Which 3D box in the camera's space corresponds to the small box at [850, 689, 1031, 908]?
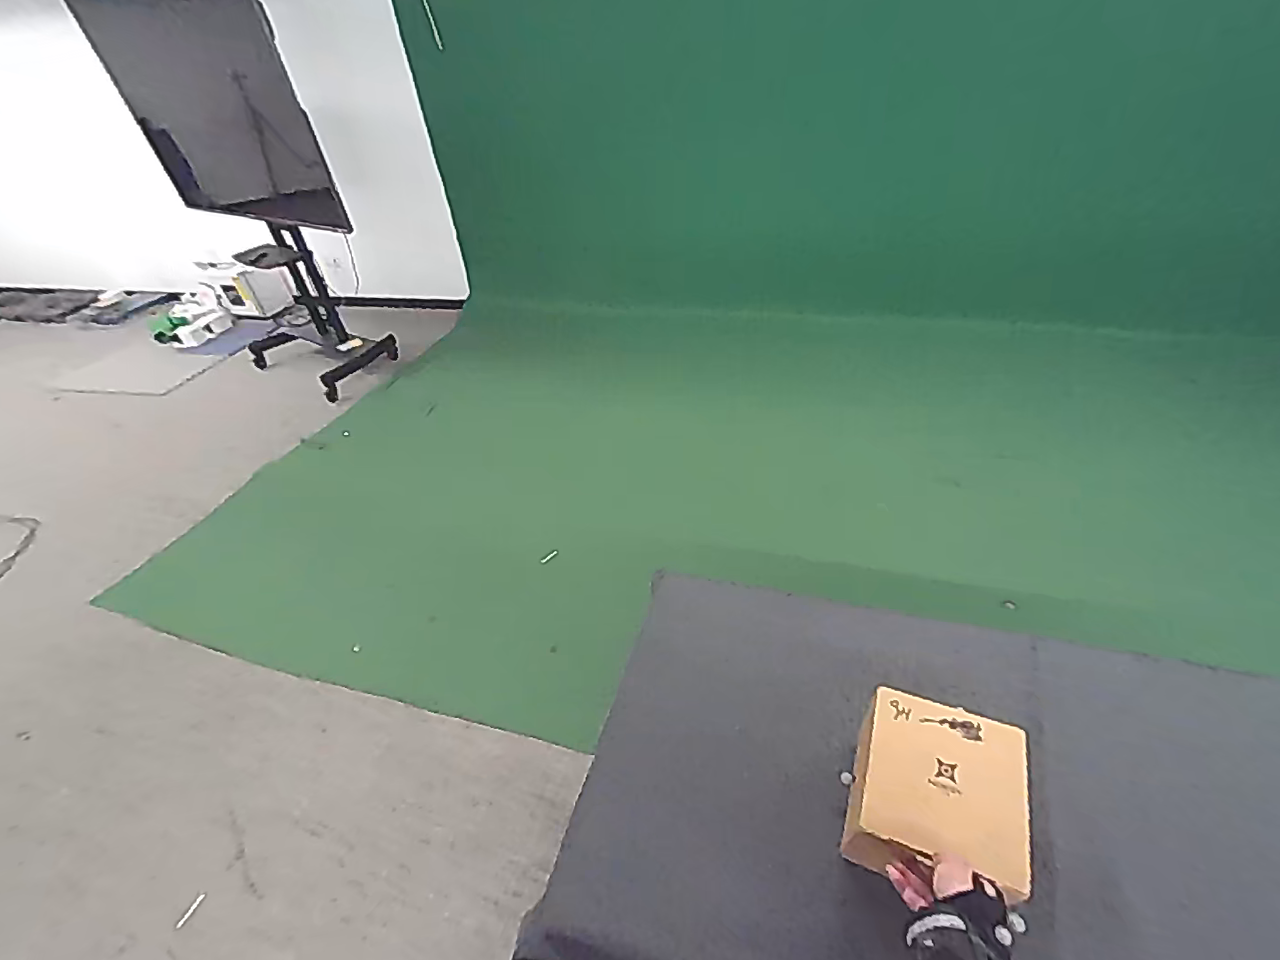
[{"bbox_3d":[0.366,0.401,0.681,0.168,0.176,0.179,9,49,21],"label":"small box"}]
